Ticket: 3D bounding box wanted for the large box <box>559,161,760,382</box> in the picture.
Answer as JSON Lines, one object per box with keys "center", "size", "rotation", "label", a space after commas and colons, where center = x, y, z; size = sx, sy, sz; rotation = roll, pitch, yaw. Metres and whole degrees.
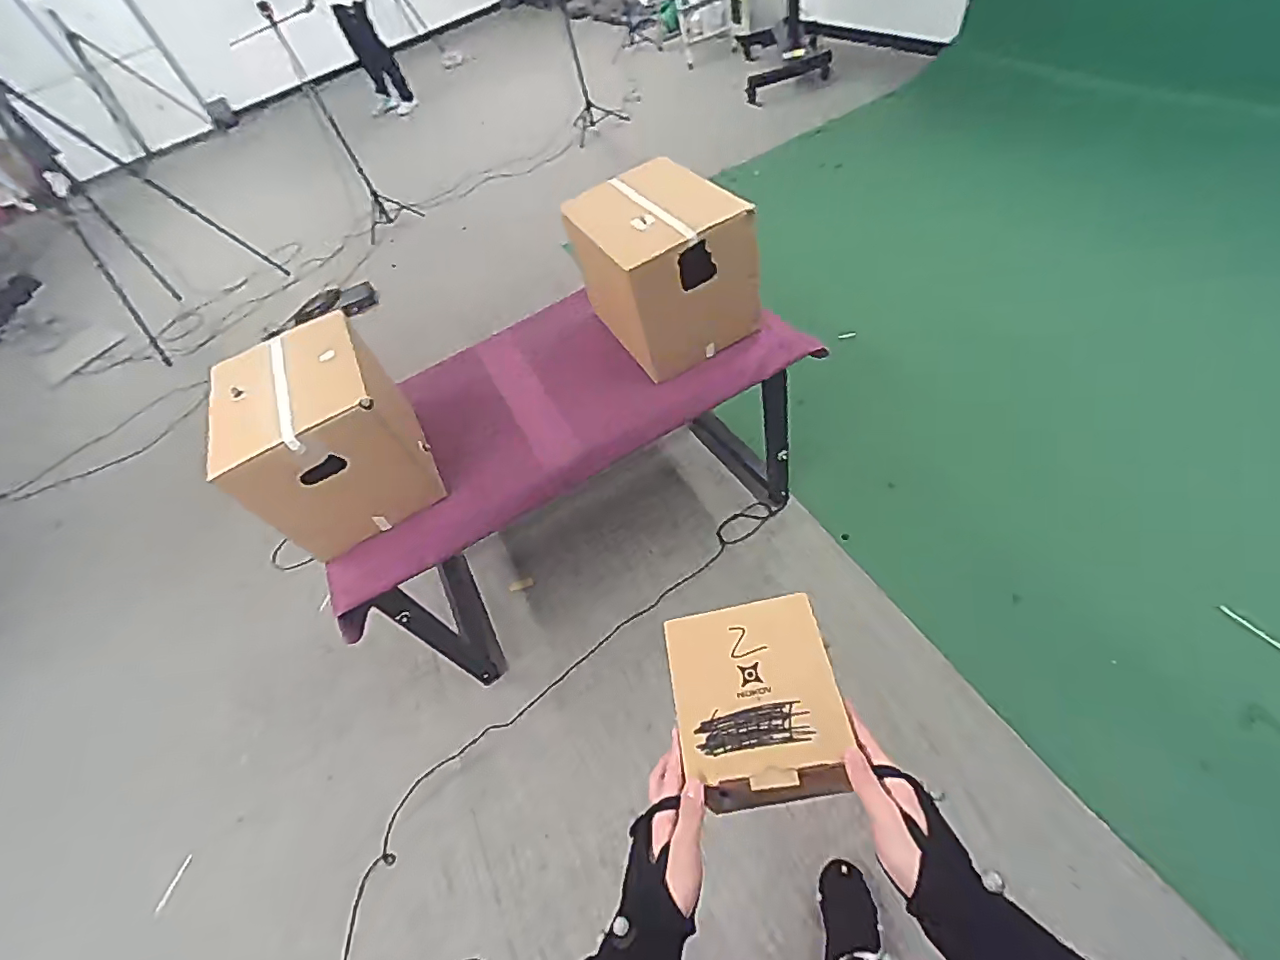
{"center": [0.052, -0.519, 1.335], "size": [0.320, 0.320, 0.408], "rotation": [-30, 52, -7], "label": "large box"}
